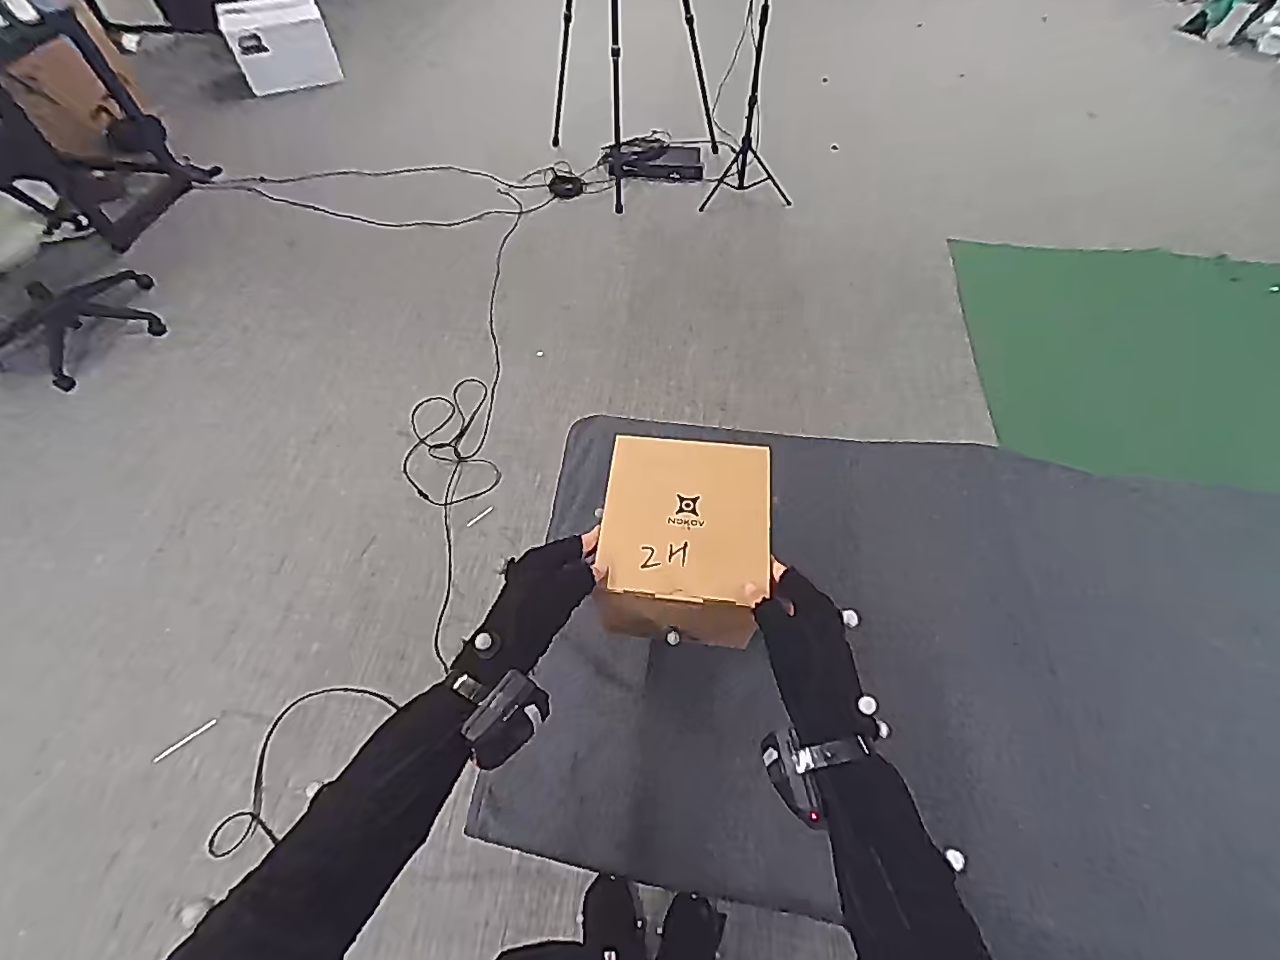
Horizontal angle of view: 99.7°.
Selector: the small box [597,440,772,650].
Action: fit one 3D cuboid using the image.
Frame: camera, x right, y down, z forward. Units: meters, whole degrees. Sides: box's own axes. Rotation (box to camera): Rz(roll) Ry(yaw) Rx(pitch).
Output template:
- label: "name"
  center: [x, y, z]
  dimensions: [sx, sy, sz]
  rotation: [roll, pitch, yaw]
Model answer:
- label: "small box"
  center: [0.051, 0.078, 0.611]
  dimensions: [0.168, 0.176, 0.179]
  rotation: [5, 61, 5]
